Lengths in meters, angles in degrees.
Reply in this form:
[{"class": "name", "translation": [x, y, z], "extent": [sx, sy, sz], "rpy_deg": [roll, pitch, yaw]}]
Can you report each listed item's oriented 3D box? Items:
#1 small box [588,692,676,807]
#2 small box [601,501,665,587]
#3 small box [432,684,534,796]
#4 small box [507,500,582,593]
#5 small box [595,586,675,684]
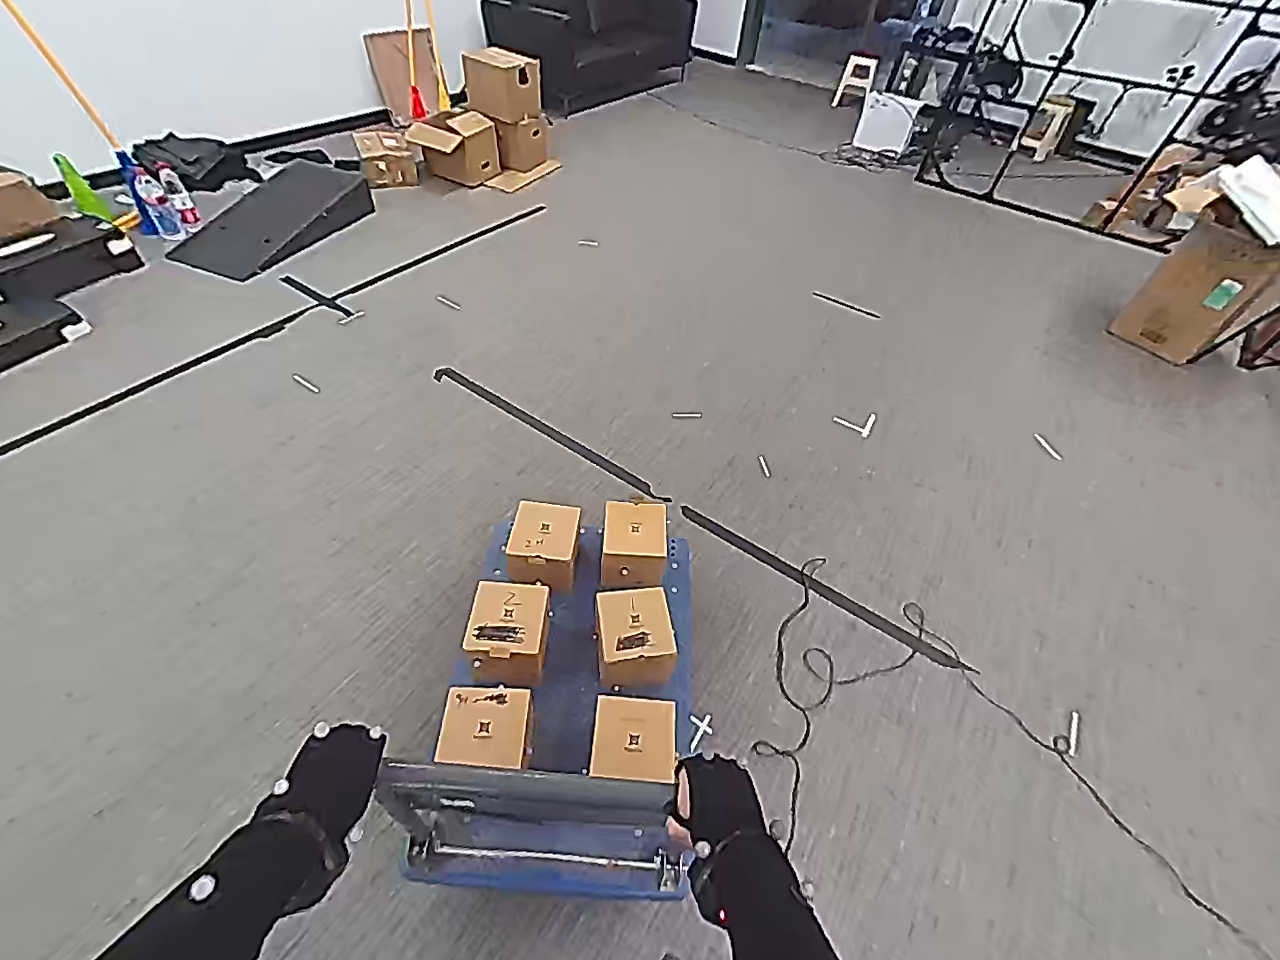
[{"class": "small box", "translation": [-0.018, 0.573, 1.141], "extent": [0.168, 0.176, 0.179], "rpy_deg": [7, 47, -2]}, {"class": "small box", "translation": [-0.021, 0.179, 1.497], "extent": [0.168, 0.176, 0.179], "rpy_deg": [4, 47, -4]}, {"class": "small box", "translation": [-0.315, 0.545, 1.125], "extent": [0.168, 0.176, 0.179], "rpy_deg": [4, 48, -5]}, {"class": "small box", "translation": [-0.254, 0.180, 1.460], "extent": [0.168, 0.176, 0.179], "rpy_deg": [7, 49, -1]}, {"class": "small box", "translation": [-0.019, 0.381, 1.313], "extent": [0.168, 0.176, 0.179], "rpy_deg": [-3, 48, -10]}]
